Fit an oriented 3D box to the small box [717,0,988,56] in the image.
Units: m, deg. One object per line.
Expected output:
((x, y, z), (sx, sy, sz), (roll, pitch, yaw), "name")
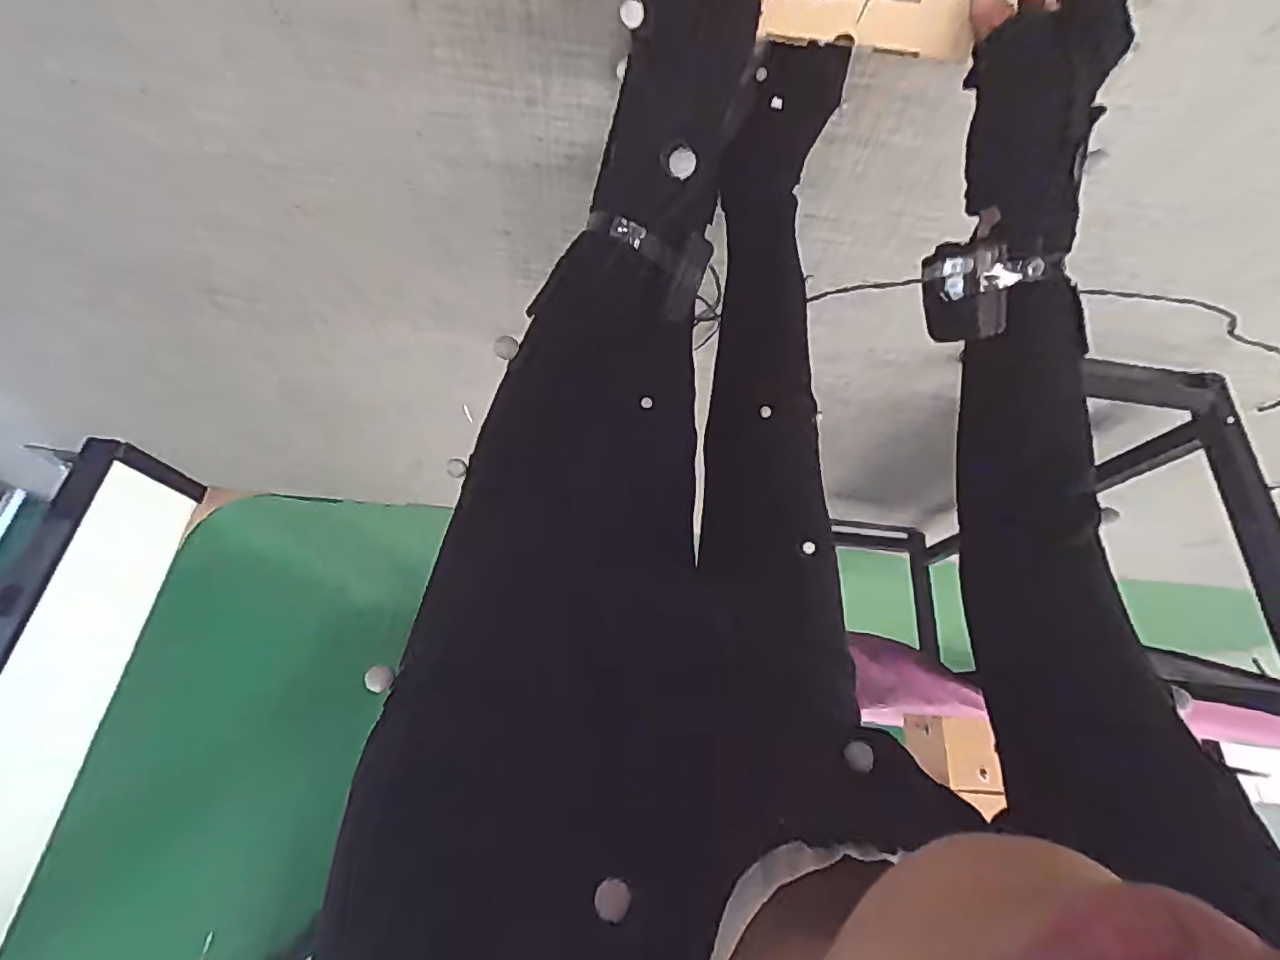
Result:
((0.145, -0.400, 0.315), (0.168, 0.176, 0.179), (6, 153, -2), "small box")

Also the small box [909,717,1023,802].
((0.810, 0.698, 1.362), (0.179, 0.176, 0.168), (9, 155, -6), "small box")
